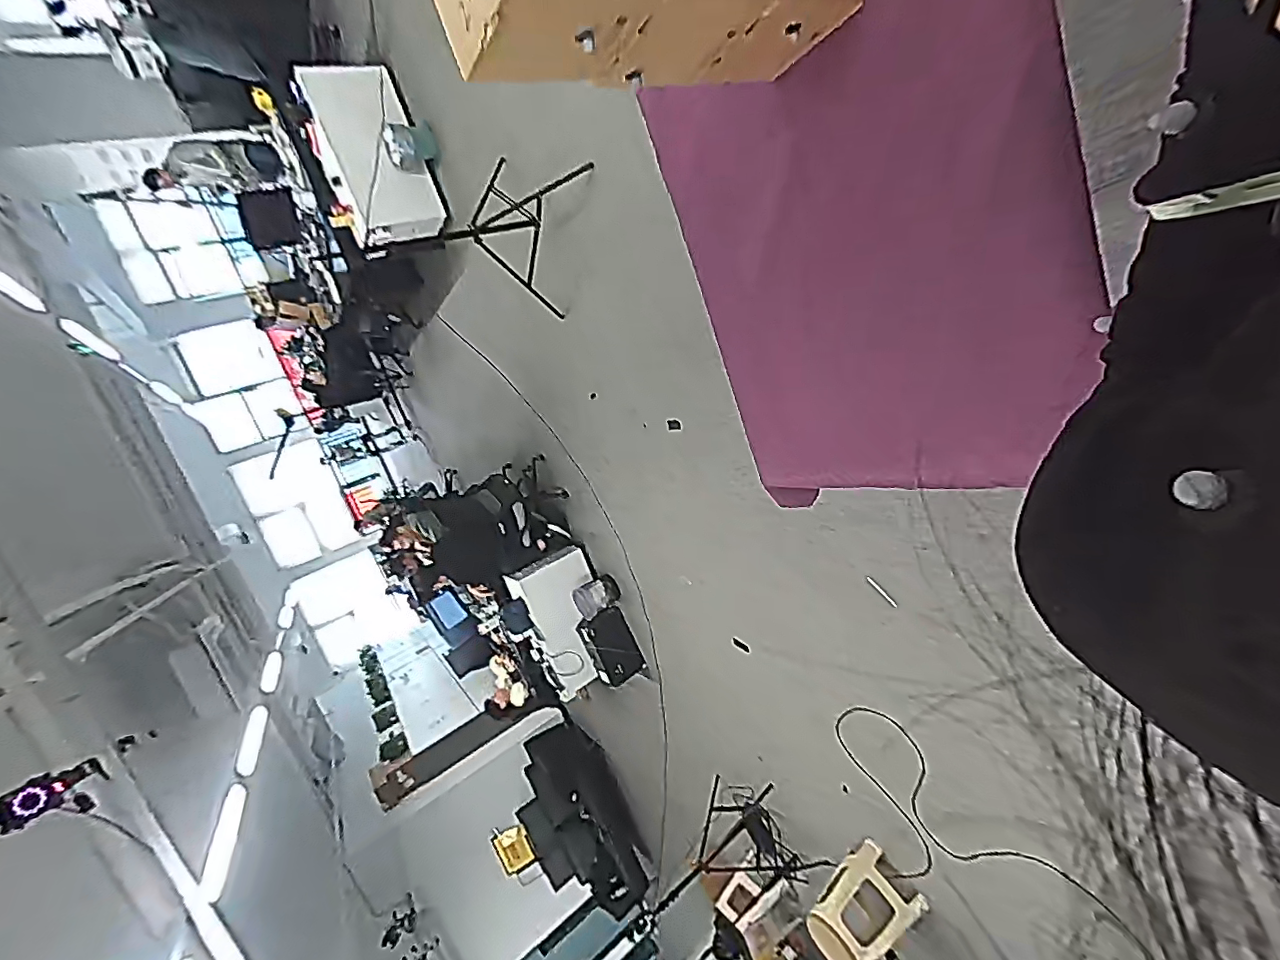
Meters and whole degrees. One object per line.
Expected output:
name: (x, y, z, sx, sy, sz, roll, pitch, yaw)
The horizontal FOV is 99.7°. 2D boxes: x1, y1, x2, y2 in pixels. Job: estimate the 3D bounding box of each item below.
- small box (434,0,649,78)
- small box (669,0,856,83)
small box: (-0.110, -0.541, 0.539, 0.168, 0.176, 0.179, 1, 114, 59)
small box: (0.152, -0.659, 0.700, 0.168, 0.176, 0.179, 1, 113, 58)
